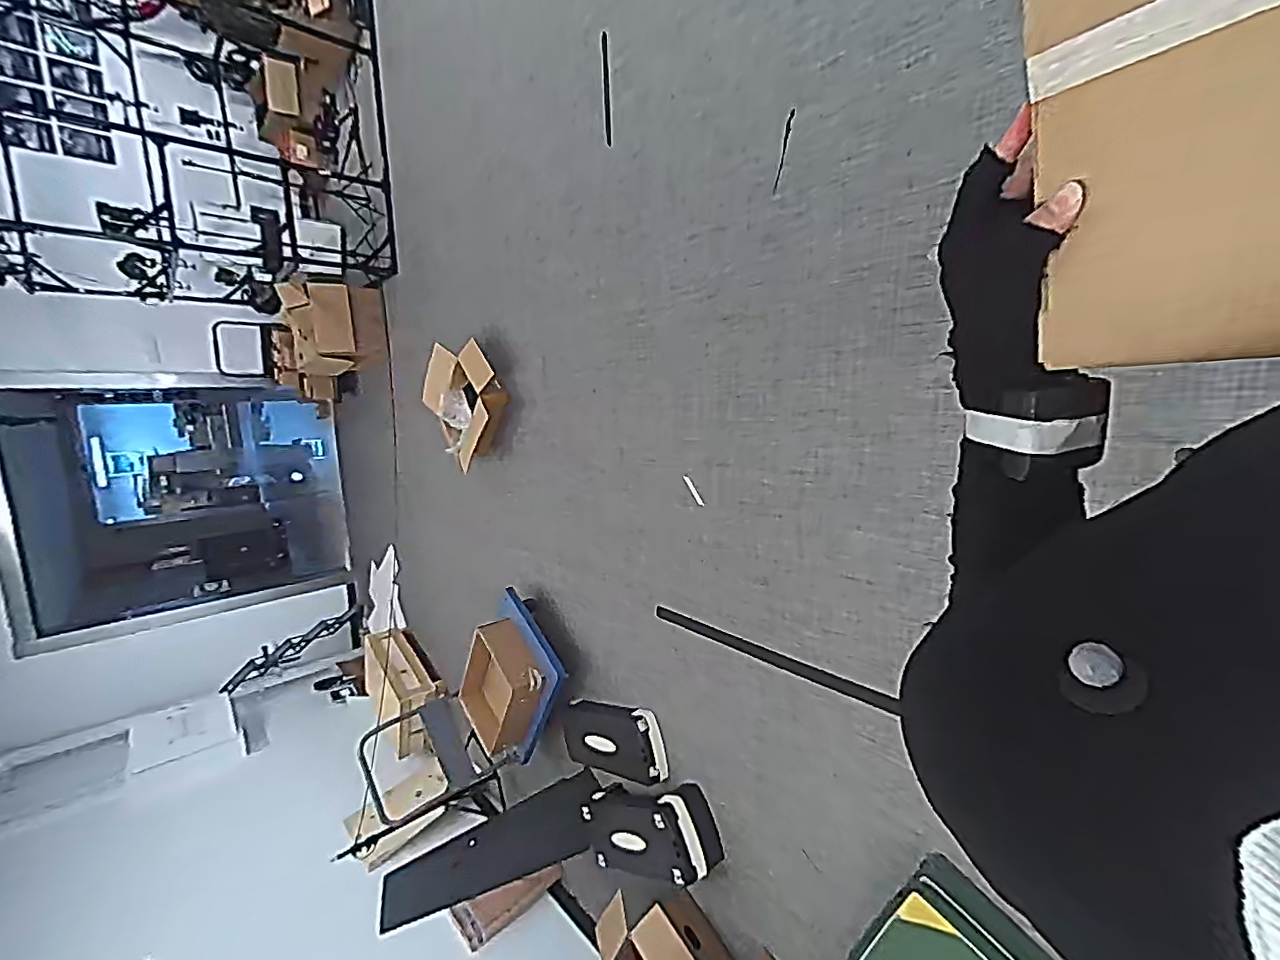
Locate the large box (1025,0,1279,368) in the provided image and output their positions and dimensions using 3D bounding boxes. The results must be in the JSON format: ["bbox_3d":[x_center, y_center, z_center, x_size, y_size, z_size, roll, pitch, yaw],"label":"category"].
[{"bbox_3d":[0.447,-0.254,0.229,0.408,0.320,0.320,6,118,51],"label":"large box"}]
